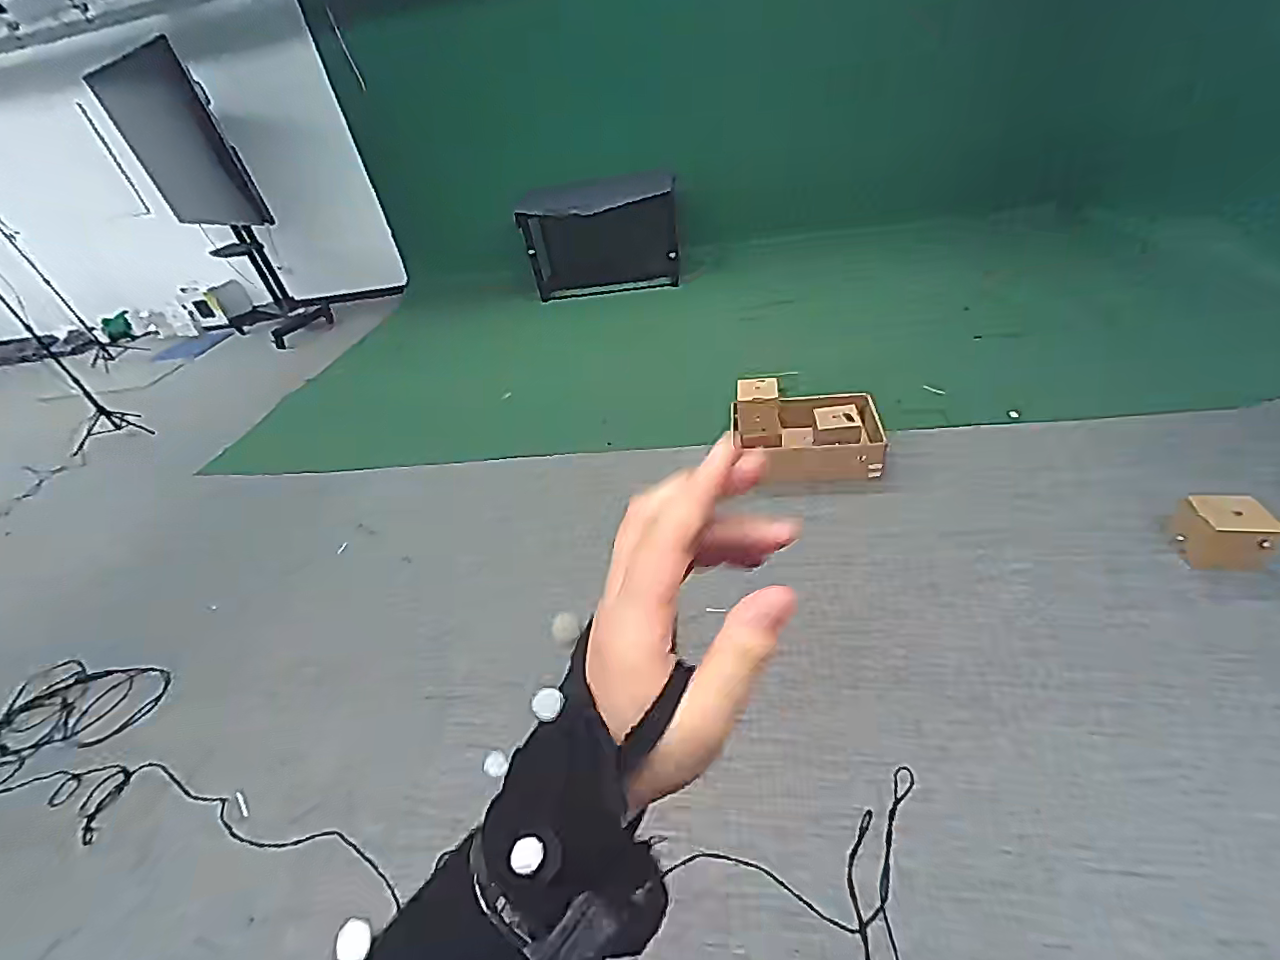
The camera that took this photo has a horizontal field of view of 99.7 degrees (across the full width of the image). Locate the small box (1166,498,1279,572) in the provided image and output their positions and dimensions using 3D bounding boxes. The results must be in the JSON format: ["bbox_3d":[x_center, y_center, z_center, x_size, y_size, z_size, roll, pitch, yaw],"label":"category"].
[{"bbox_3d":[1.825,0.174,1.695,0.179,0.176,0.168,0,38,14],"label":"small box"}]

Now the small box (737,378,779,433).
[{"bbox_3d":[0.500,-0.310,2.285,0.168,0.176,0.179,-1,40,13],"label":"small box"}]

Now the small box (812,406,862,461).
[{"bbox_3d":[0.844,-0.198,2.325,0.179,0.176,0.168,-3,39,12],"label":"small box"}]
